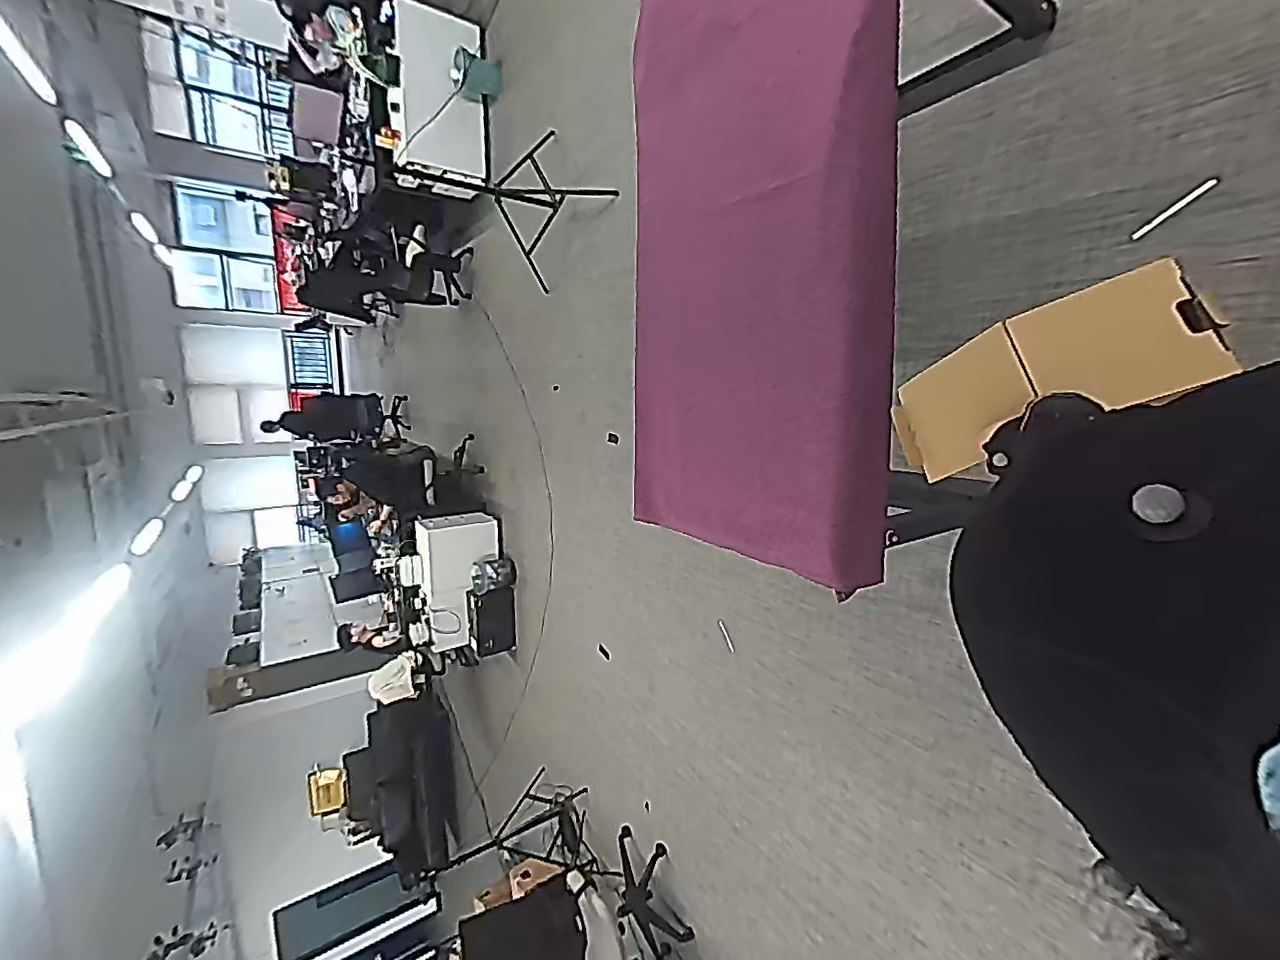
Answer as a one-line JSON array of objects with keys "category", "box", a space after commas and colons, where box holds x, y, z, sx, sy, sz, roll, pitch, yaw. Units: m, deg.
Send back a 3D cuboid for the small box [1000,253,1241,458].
[{"category": "small box", "box": [0.595, -0.143, 0.697, 0.179, 0.176, 0.168, -20, 66, 29]}]
